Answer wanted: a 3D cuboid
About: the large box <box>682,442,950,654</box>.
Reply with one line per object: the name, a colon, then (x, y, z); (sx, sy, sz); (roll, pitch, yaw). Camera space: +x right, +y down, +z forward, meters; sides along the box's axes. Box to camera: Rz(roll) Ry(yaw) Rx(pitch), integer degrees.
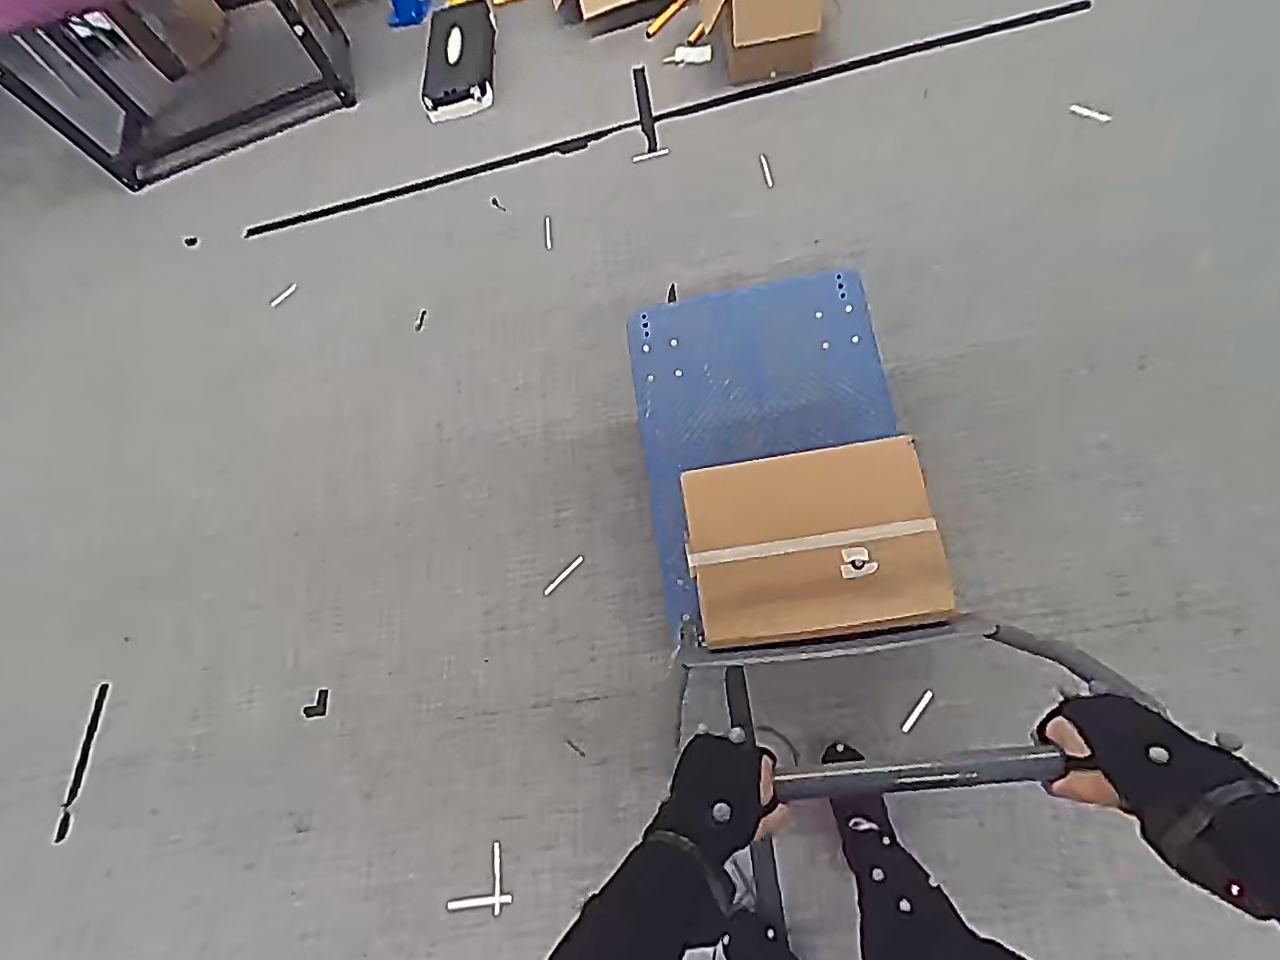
large box: (0.312, 0.145, 1.078); (0.408, 0.320, 0.320); (-10, 78, 6)
